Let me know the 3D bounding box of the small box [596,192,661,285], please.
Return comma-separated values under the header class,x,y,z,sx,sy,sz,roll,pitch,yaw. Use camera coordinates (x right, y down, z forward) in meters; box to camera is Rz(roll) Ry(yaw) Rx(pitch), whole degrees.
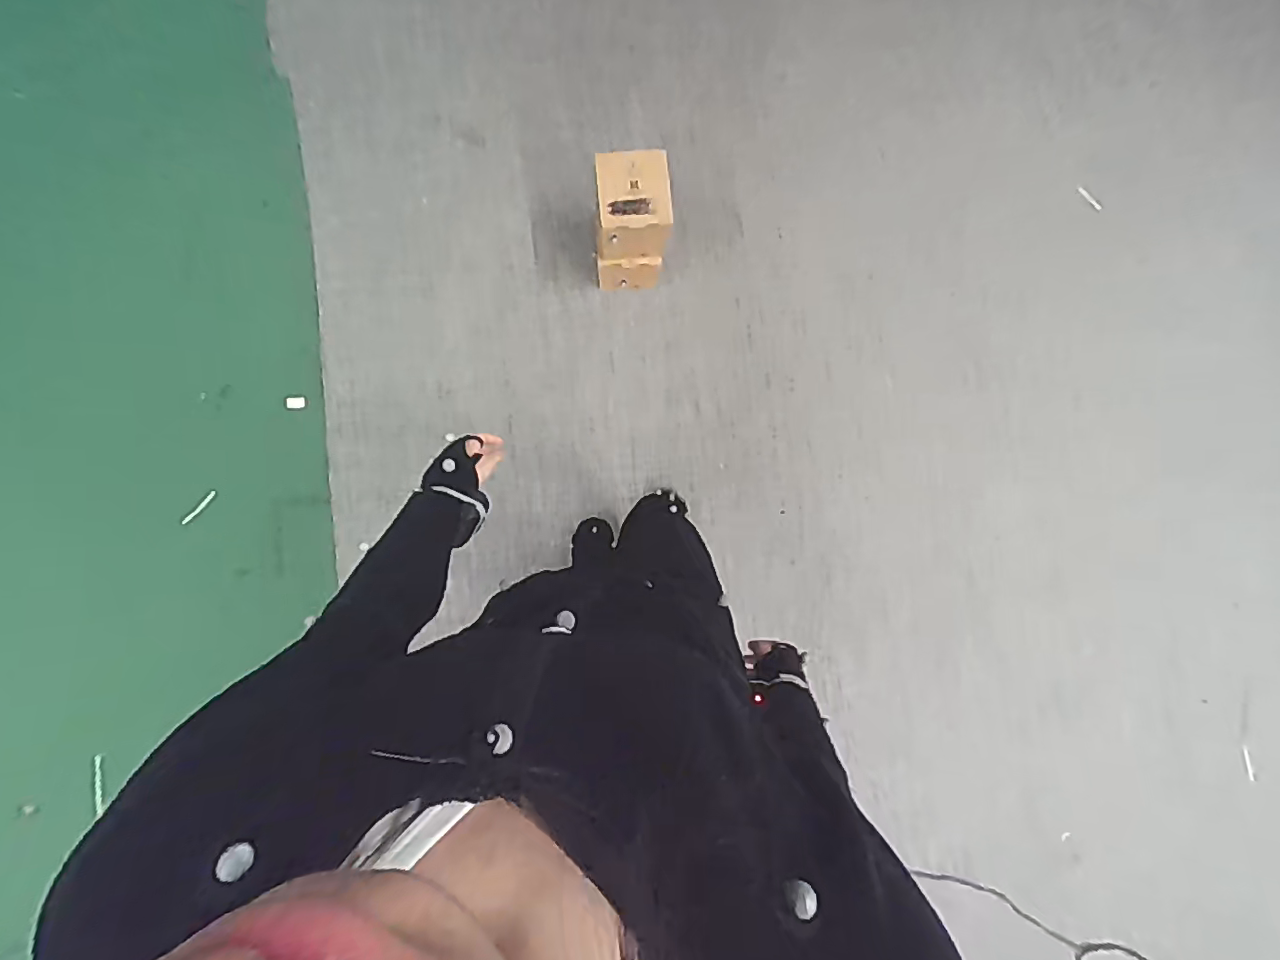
class,x,y,z,sx,sy,sz,roll,pitch,yaw
small box,-0.036,-0.647,1.462,0.168,0.176,0.179,-2,89,-4
